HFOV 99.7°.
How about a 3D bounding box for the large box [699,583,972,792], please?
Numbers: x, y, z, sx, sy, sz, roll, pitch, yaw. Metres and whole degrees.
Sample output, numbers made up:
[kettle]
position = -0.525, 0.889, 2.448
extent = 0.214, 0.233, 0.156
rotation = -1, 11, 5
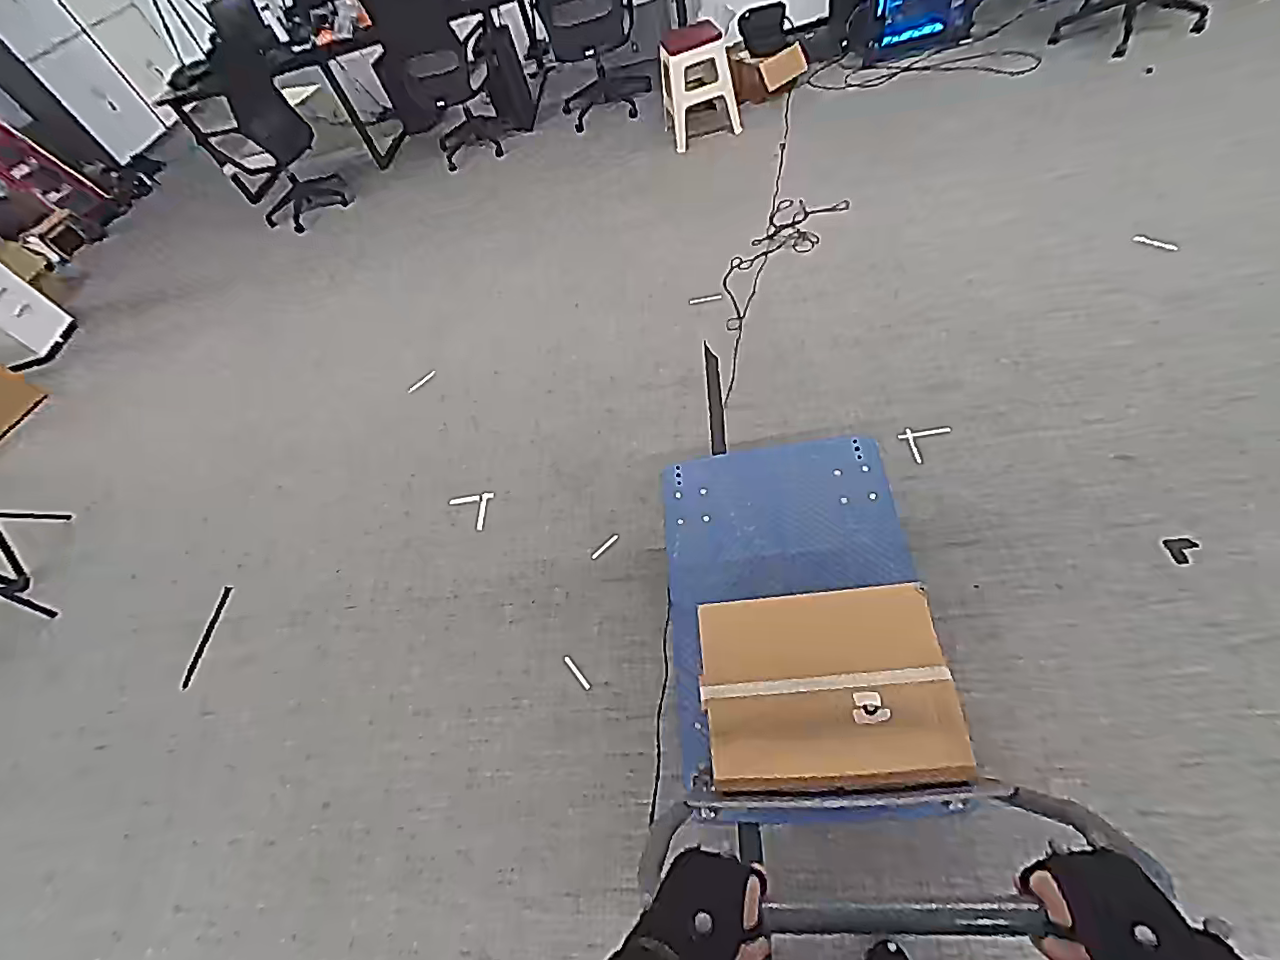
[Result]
[large box]
position = 0.347, 0.421, 1.069
extent = 0.408, 0.320, 0.320
rotation = -9, 61, 9
